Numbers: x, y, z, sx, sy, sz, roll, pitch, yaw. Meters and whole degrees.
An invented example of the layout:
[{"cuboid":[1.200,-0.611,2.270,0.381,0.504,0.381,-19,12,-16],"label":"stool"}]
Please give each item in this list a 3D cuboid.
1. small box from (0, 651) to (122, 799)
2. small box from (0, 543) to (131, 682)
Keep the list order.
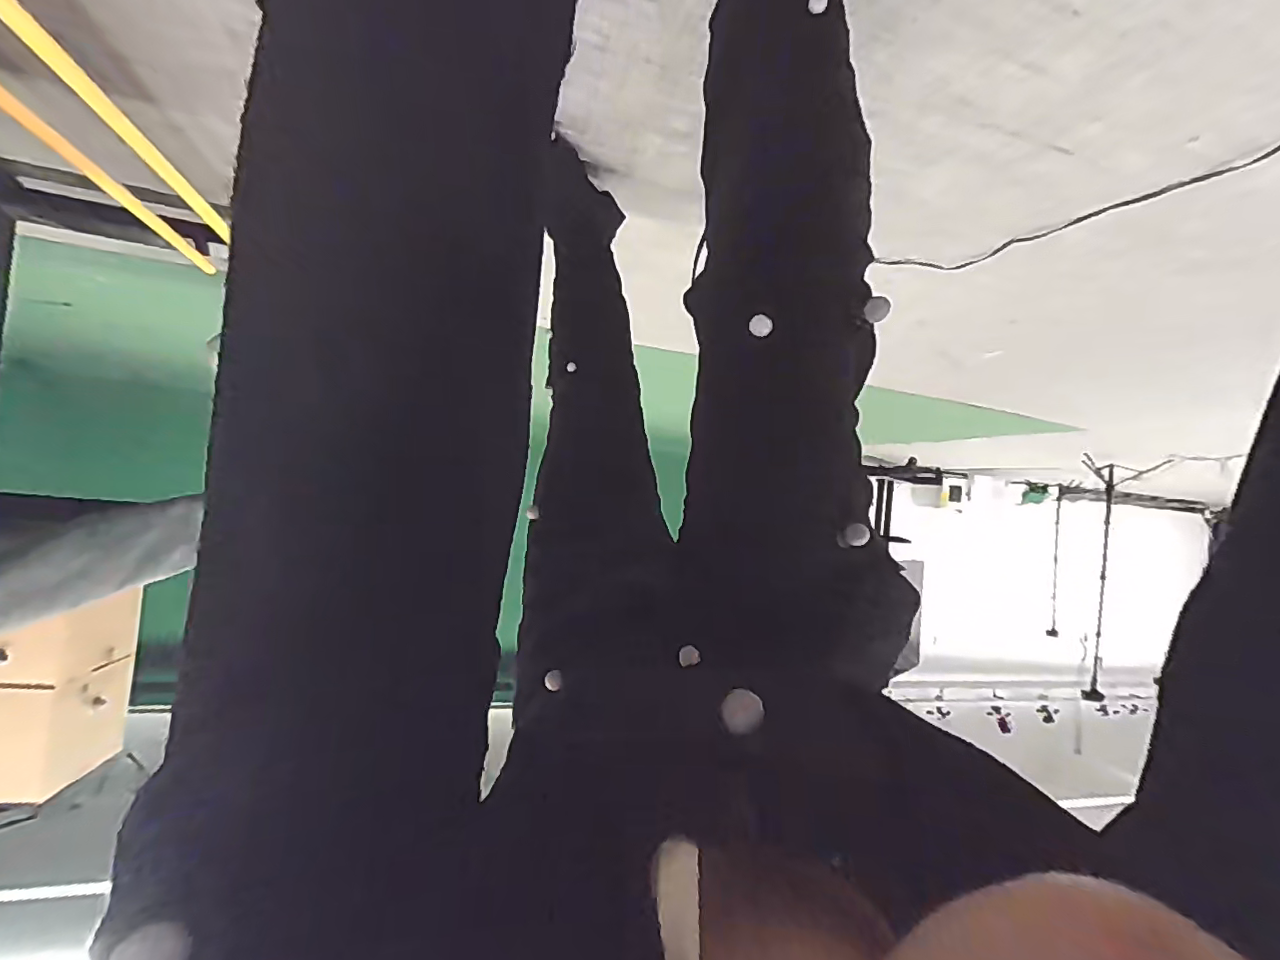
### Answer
[{"cuboid":[-0.954,0.359,0.828,0.179,0.176,0.168,6,180,-12],"label":"small box"},{"cuboid":[-0.935,0.195,0.831,0.179,0.176,0.168,7,179,-14],"label":"small box"}]
